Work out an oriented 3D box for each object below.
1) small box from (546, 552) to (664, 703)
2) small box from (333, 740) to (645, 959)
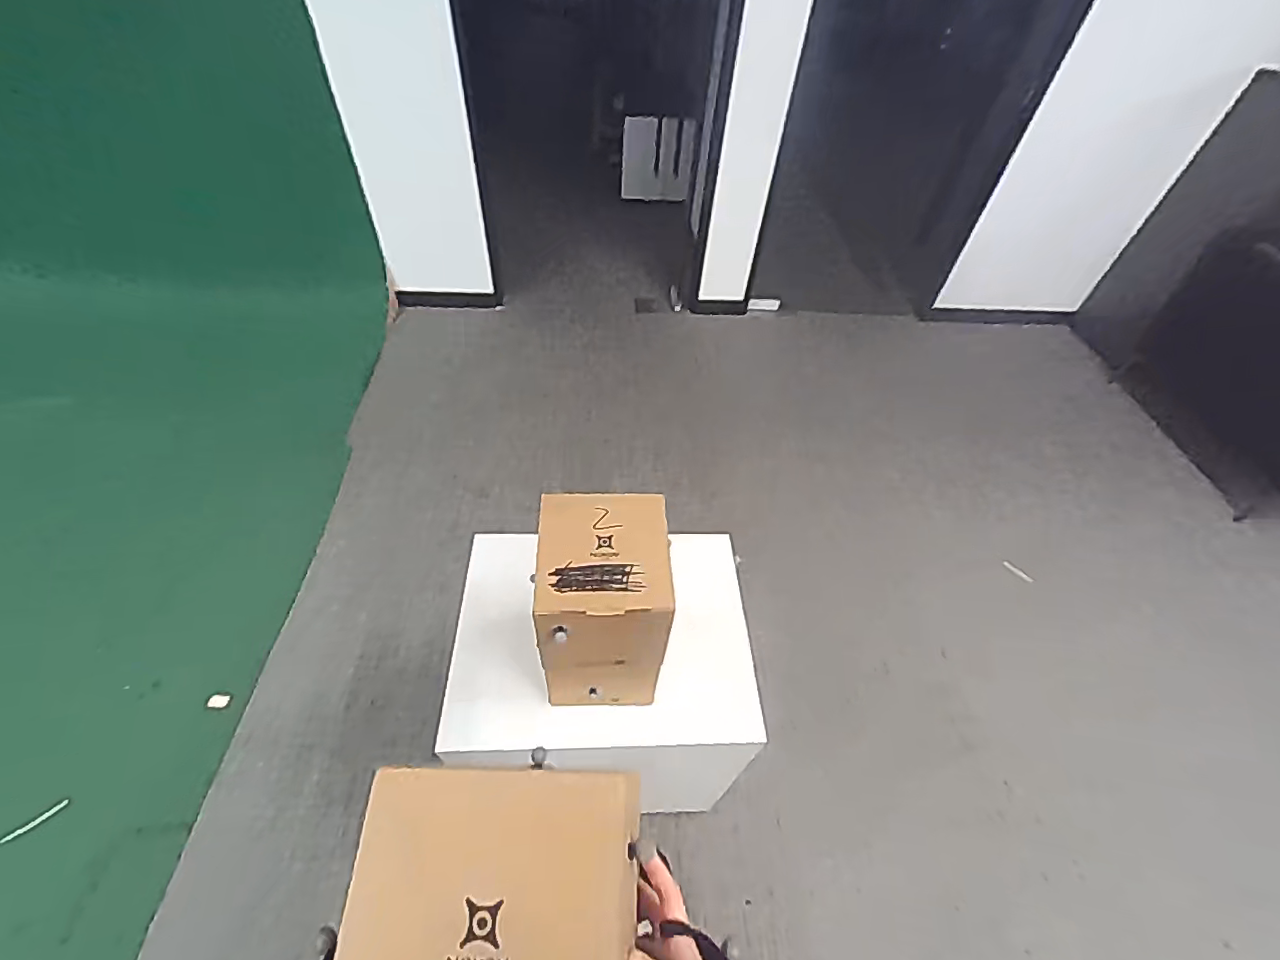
[{"bbox_3d":[-0.056,0.232,0.849,0.168,0.176,0.179,1,48,-4],"label":"small box"},{"bbox_3d":[-0.084,0.283,0.375,0.168,0.176,0.179,-1,62,3],"label":"small box"}]
